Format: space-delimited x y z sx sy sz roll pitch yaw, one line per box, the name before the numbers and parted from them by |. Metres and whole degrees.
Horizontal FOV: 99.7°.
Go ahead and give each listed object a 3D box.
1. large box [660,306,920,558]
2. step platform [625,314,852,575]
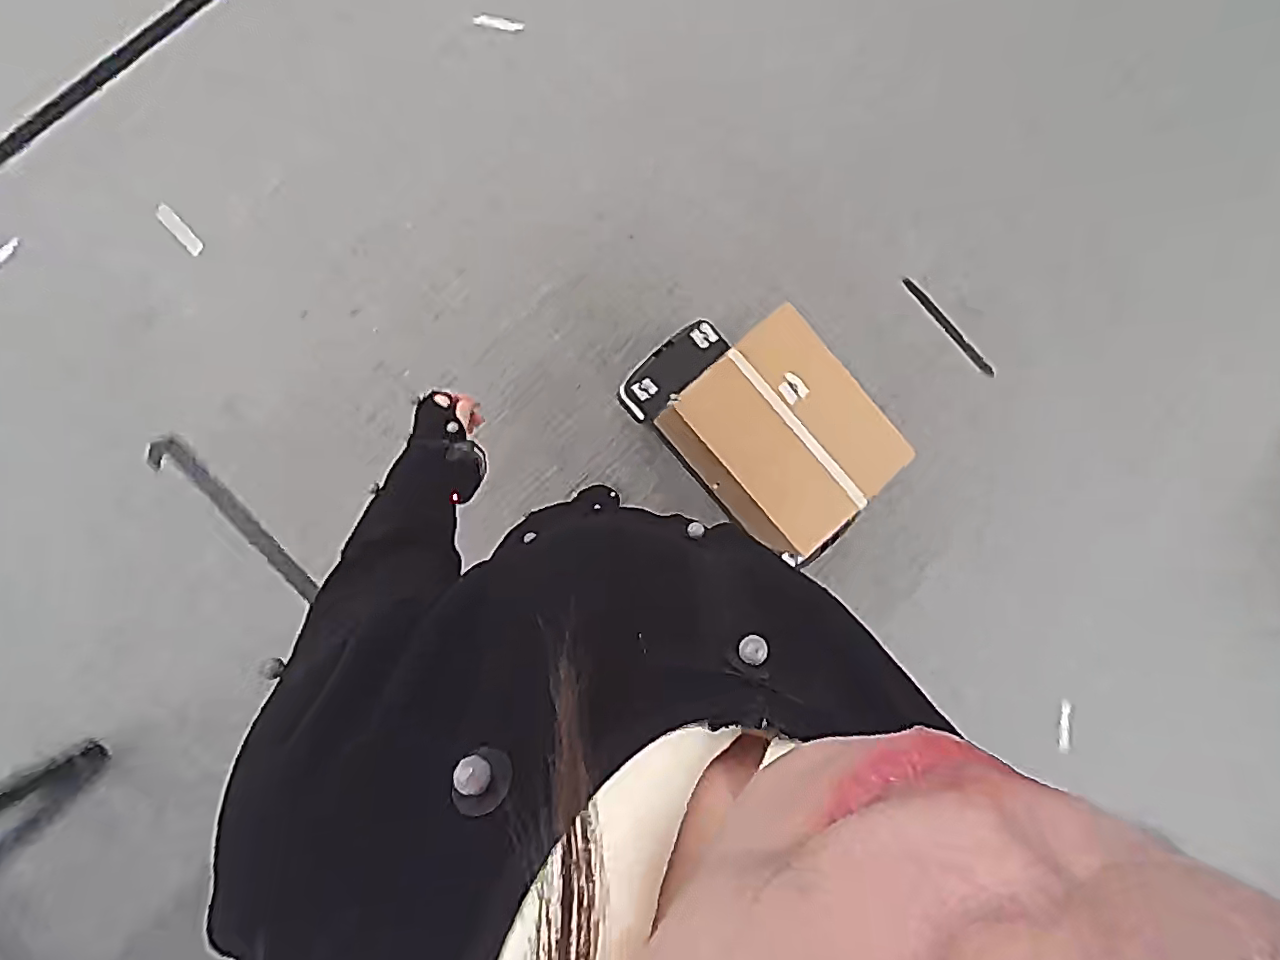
large box | 0.298 -0.089 1.190 0.320 0.320 0.408 -41 92 -5
step platform | 0.254 -0.087 1.426 0.286 0.204 0.684 -36 91 -4
